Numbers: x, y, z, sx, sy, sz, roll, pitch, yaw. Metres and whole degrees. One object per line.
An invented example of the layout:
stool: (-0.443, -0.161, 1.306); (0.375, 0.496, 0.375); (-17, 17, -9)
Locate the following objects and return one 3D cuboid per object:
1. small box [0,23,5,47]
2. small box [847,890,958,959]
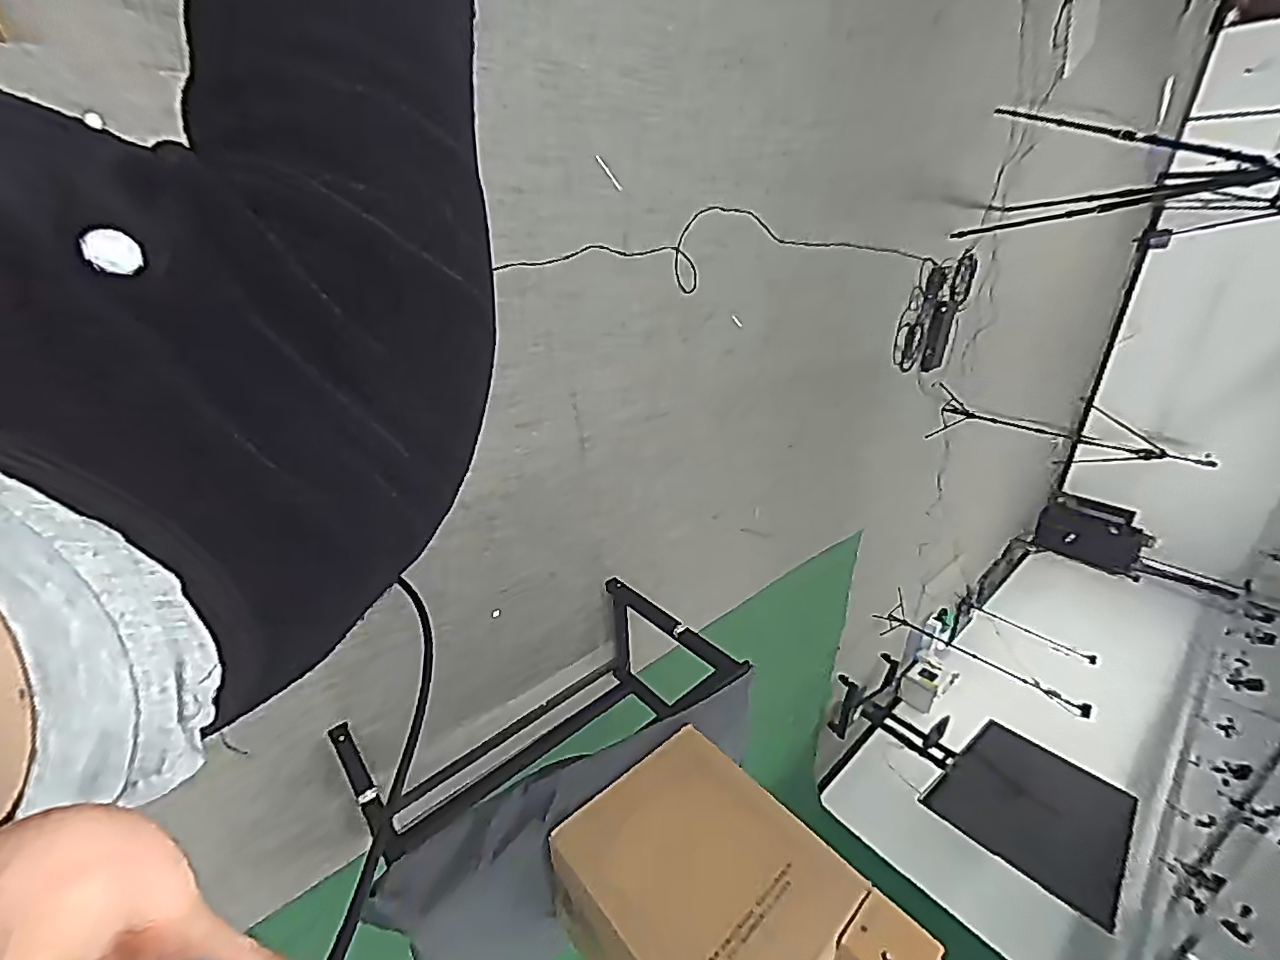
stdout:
small box: (-1.083, -0.766, 0.785); (0.168, 0.176, 0.179); (-18, 120, -38)
small box: (0.590, 1.095, 1.237); (0.168, 0.176, 0.179); (-20, 122, -38)
